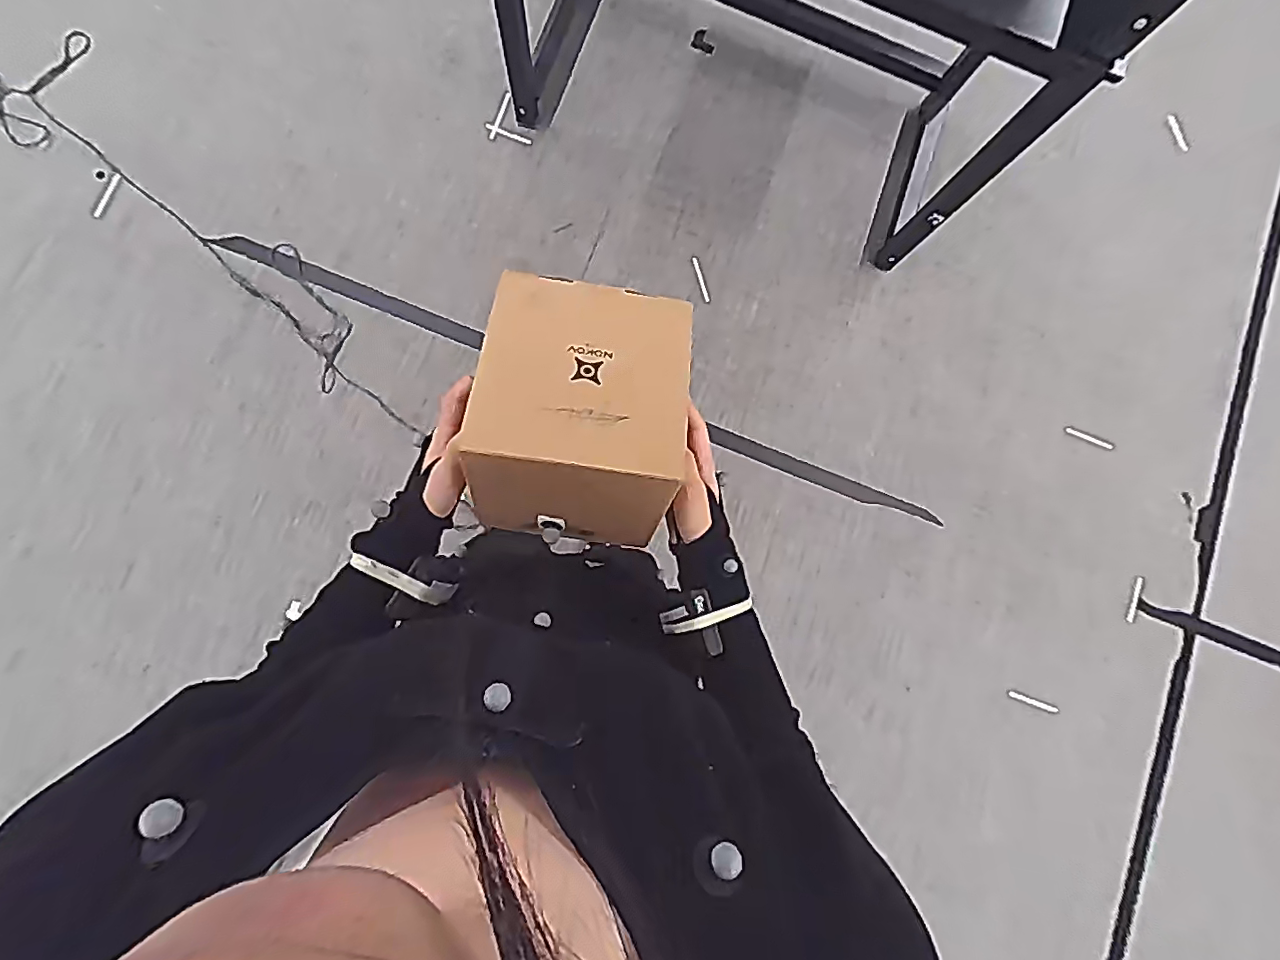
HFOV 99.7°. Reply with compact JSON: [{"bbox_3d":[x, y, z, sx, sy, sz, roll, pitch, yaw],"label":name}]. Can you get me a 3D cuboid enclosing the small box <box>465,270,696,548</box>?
[{"bbox_3d":[-0.050,-0.053,0.493,0.168,0.176,0.179,7,65,-6],"label":"small box"}]
